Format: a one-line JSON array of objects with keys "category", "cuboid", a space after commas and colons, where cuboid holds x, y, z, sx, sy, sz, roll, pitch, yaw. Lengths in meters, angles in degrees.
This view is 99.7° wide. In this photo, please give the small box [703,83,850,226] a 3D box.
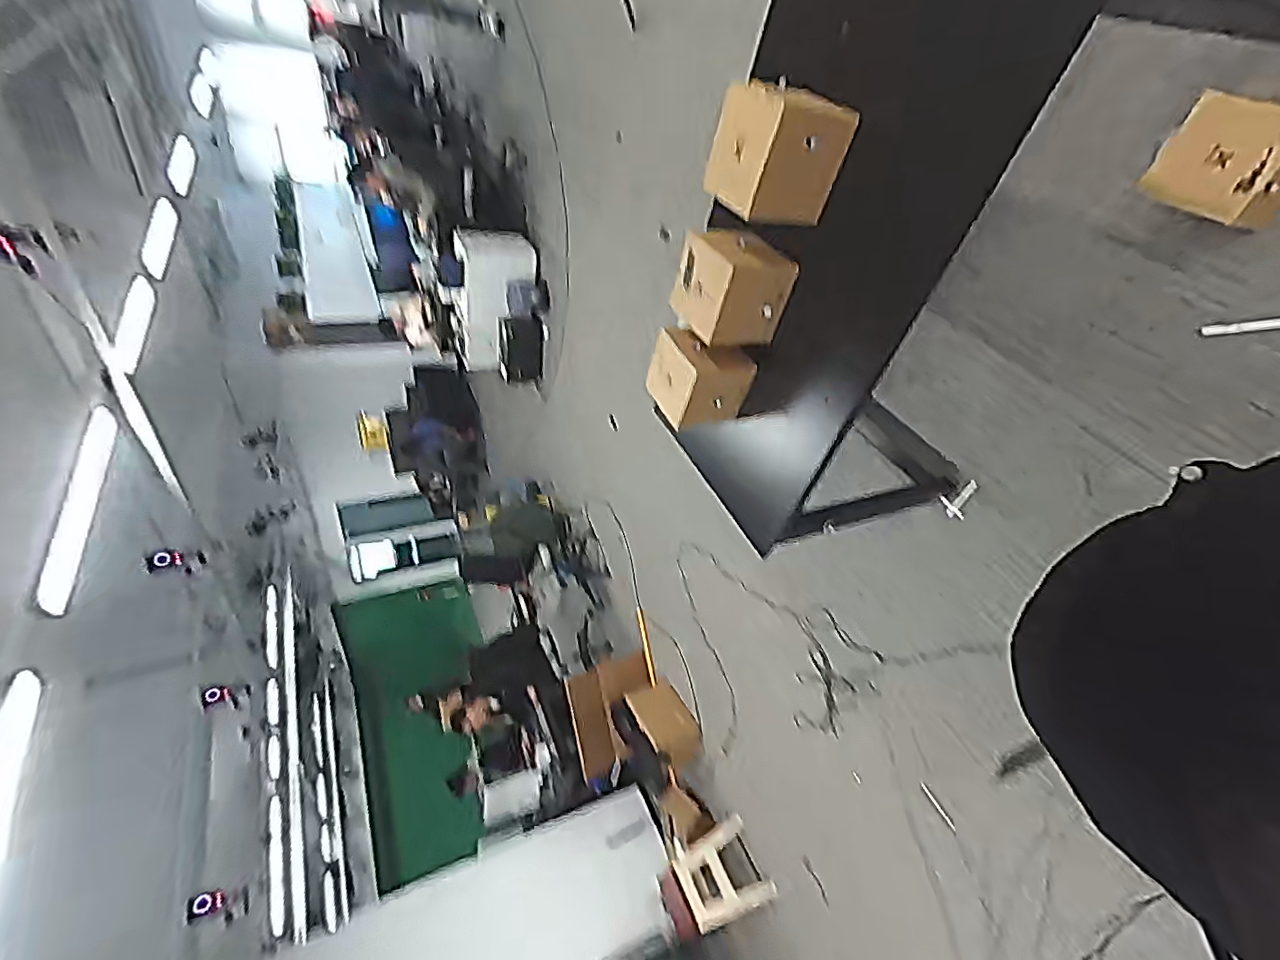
[{"category": "small box", "cuboid": [0.244, -0.578, 0.971, 0.168, 0.176, 0.179, 59, 148, 38]}]

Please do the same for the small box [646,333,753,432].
[{"category": "small box", "cuboid": [0.140, -0.238, 1.283, 0.179, 0.176, 0.168, 60, 146, 35]}]

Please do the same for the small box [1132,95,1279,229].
[{"category": "small box", "cuboid": [1.070, -0.564, 0.972, 0.179, 0.176, 0.168, 58, 146, 38]}]

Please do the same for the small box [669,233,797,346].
[{"category": "small box", "cuboid": [0.190, -0.396, 1.132, 0.179, 0.176, 0.168, 56, 144, 38]}]
